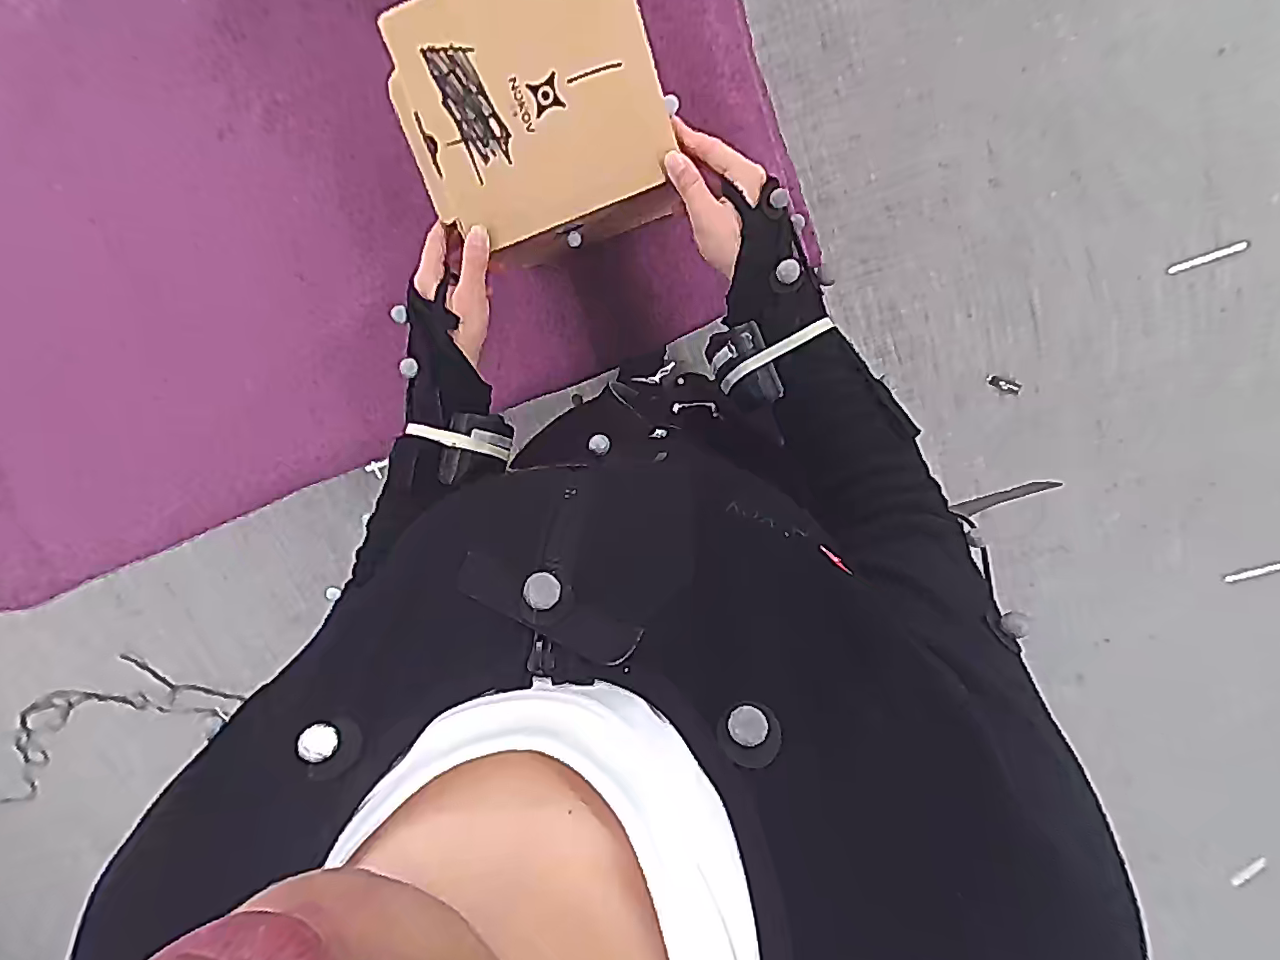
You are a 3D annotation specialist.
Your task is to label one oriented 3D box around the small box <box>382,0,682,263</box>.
[{"bbox_3d":[-0.068,-0.295,0.456,0.179,0.176,0.168,-17,107,9],"label":"small box"}]
